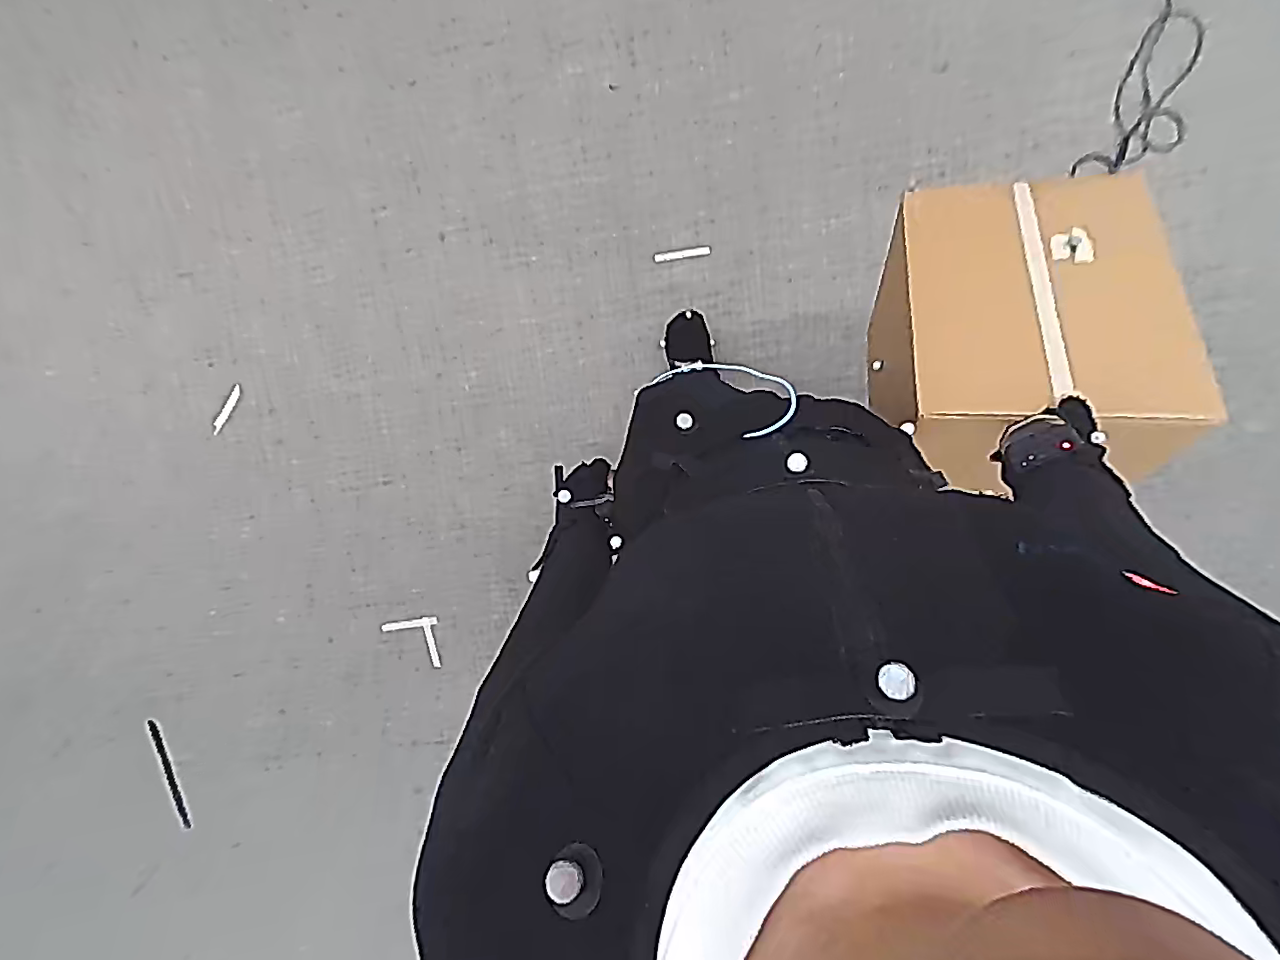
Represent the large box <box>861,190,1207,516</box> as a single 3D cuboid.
[{"bbox_3d":[0.549,-0.185,0.862,0.320,0.320,0.408,3,63,11],"label":"large box"}]
